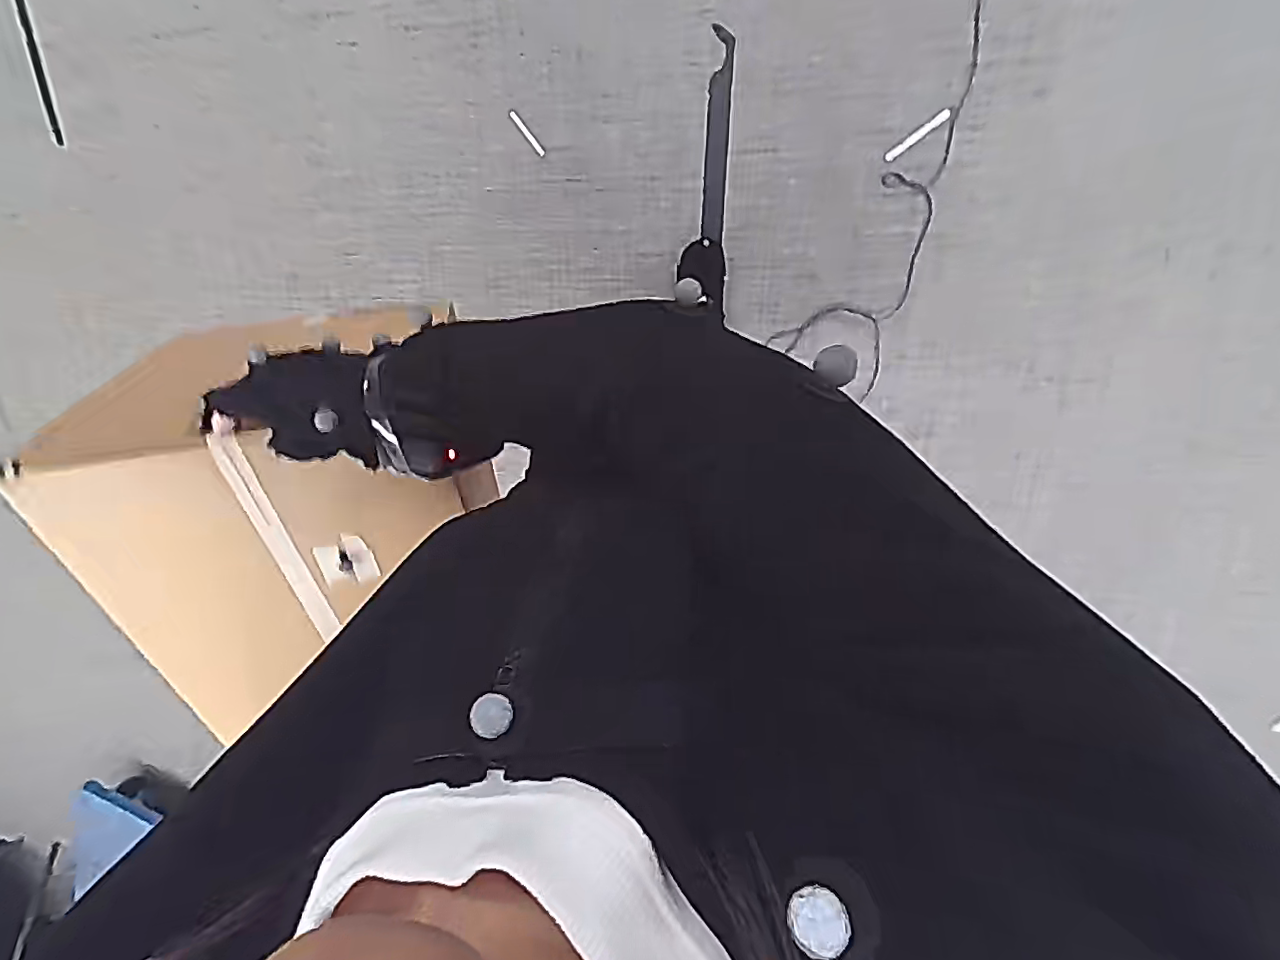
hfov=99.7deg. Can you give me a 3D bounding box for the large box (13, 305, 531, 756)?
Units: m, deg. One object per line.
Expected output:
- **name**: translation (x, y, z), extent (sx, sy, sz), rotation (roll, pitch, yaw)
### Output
- **large box**: translation (-0.337, 0.045, 0.655), extent (0.320, 0.320, 0.408), rotation (-13, 123, -10)
